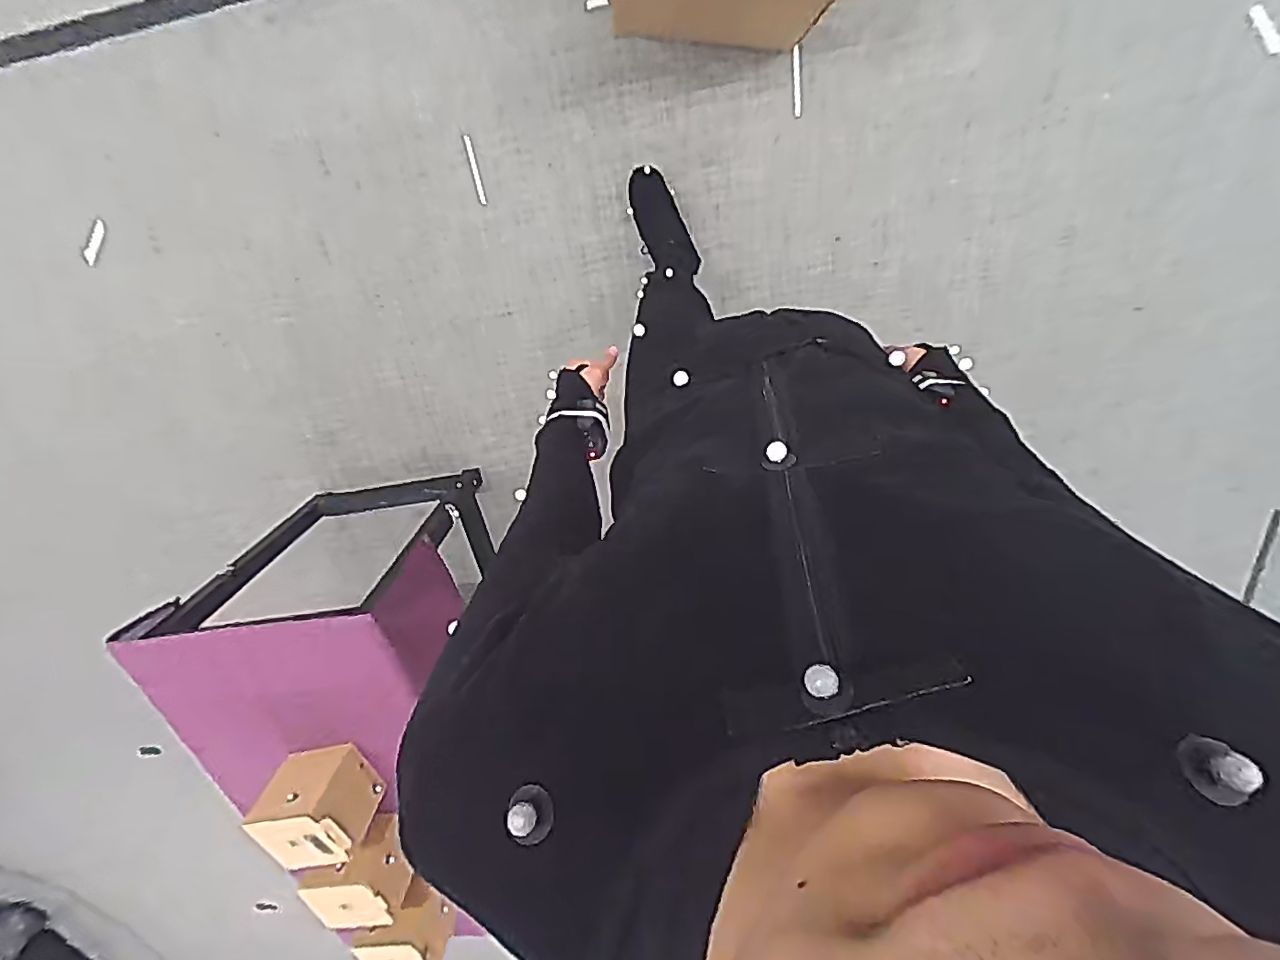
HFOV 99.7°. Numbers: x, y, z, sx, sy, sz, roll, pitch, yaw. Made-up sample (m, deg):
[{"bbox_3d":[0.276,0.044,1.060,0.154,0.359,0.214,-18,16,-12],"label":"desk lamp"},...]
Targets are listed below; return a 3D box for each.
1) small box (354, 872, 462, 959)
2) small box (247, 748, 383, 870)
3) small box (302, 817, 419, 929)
[{"bbox_3d":[-0.603,1.177,1.429,0.179,0.176,0.168,-12,116,8],"label":"small box"},{"bbox_3d":[-0.712,0.734,1.217,0.179,0.176,0.168,-15,114,11],"label":"small box"},{"bbox_3d":[-0.669,0.957,1.326,0.179,0.176,0.168,-11,115,8],"label":"small box"}]
